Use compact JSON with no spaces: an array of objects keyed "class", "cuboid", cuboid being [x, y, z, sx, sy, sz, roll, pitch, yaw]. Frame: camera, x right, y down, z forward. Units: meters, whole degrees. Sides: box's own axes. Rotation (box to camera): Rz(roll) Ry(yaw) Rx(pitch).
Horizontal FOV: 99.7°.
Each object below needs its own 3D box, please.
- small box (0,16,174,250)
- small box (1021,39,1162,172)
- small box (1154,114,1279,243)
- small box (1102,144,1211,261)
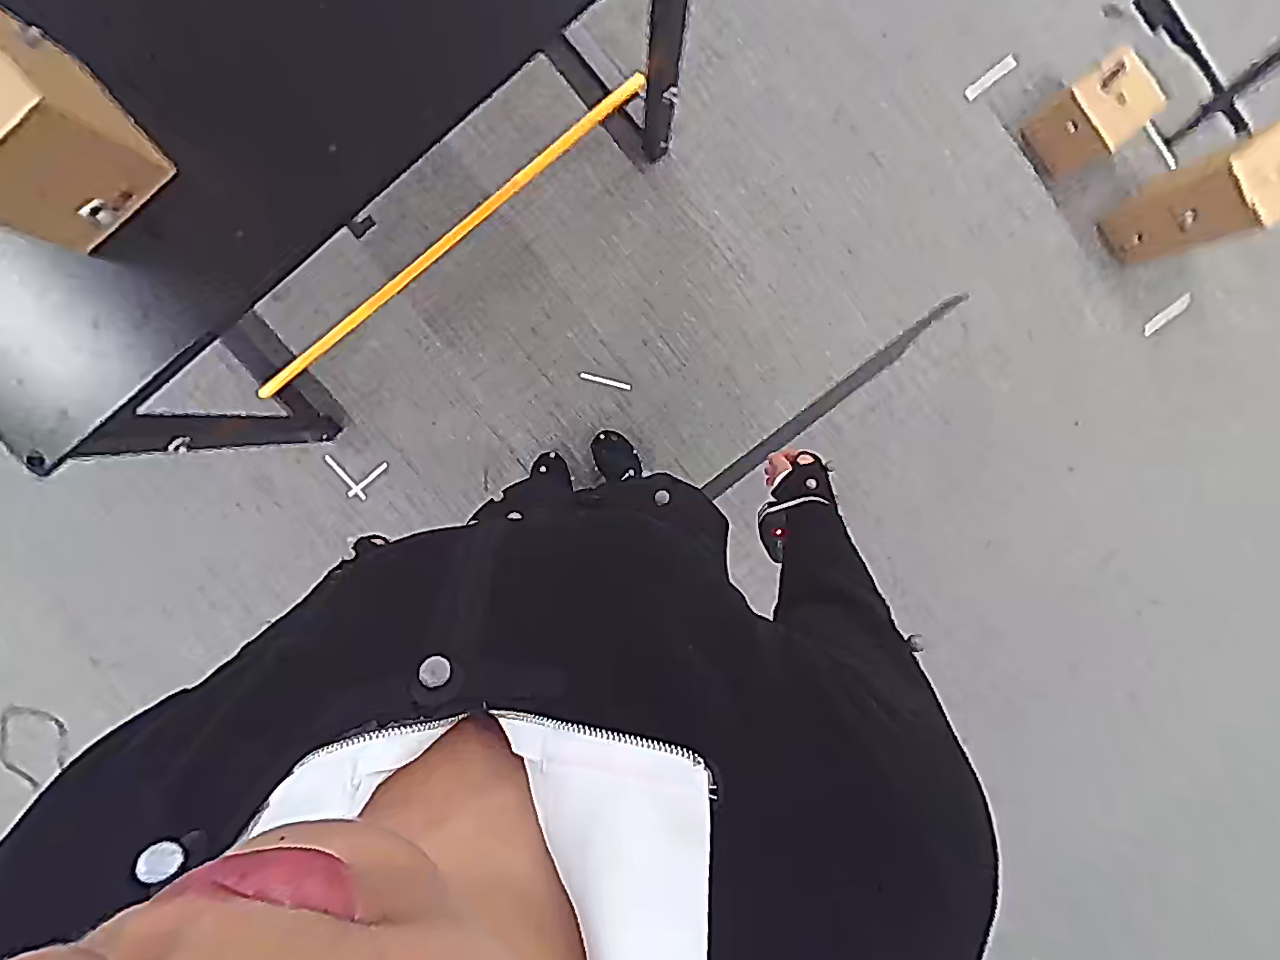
[{"class":"small box","cuboid":[-0.714,-0.401,0.619,0.168,0.176,0.179,-41,96,4]},{"class":"small box","cuboid":[1.103,-0.911,1.337,0.168,0.176,0.179,-41,96,3]},{"class":"small box","cuboid":[1.328,-0.669,1.205,0.179,0.176,0.168,-38,96,3]},{"class":"small box","cuboid":[1.332,-0.689,1.370,0.179,0.176,0.168,-39,95,4]}]
